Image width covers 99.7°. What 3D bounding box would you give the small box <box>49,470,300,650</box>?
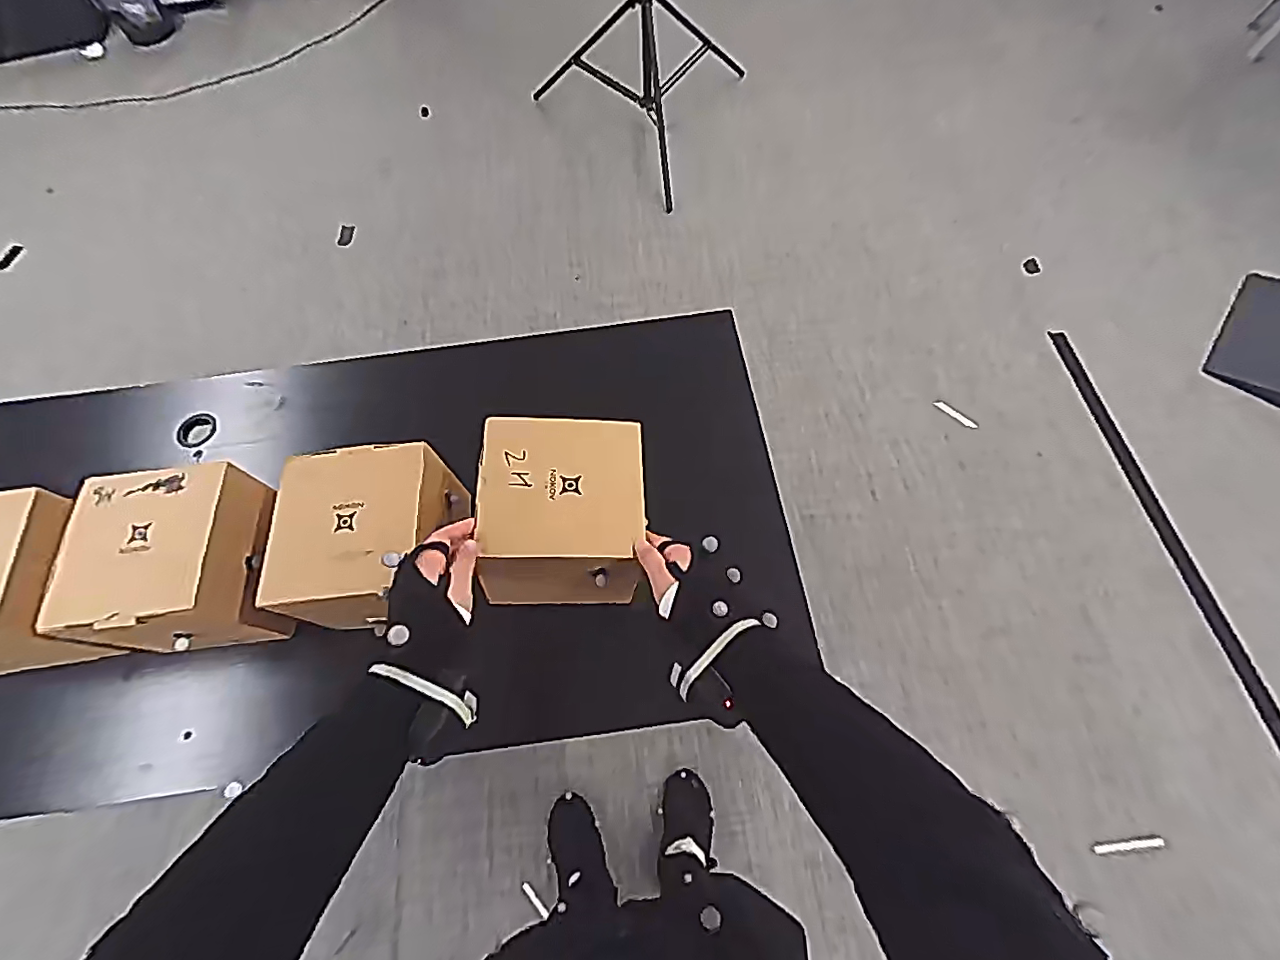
[{"bbox_3d":[-0.537,0.108,0.666,0.168,0.176,0.179,-7,65,0],"label":"small box"}]

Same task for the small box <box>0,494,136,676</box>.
[{"bbox_3d":[-0.750,0.136,0.661,0.179,0.176,0.168,-9,65,-3],"label":"small box"}]

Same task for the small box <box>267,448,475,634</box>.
[{"bbox_3d":[-0.313,0.082,0.671,0.168,0.176,0.179,-7,66,1],"label":"small box"}]
